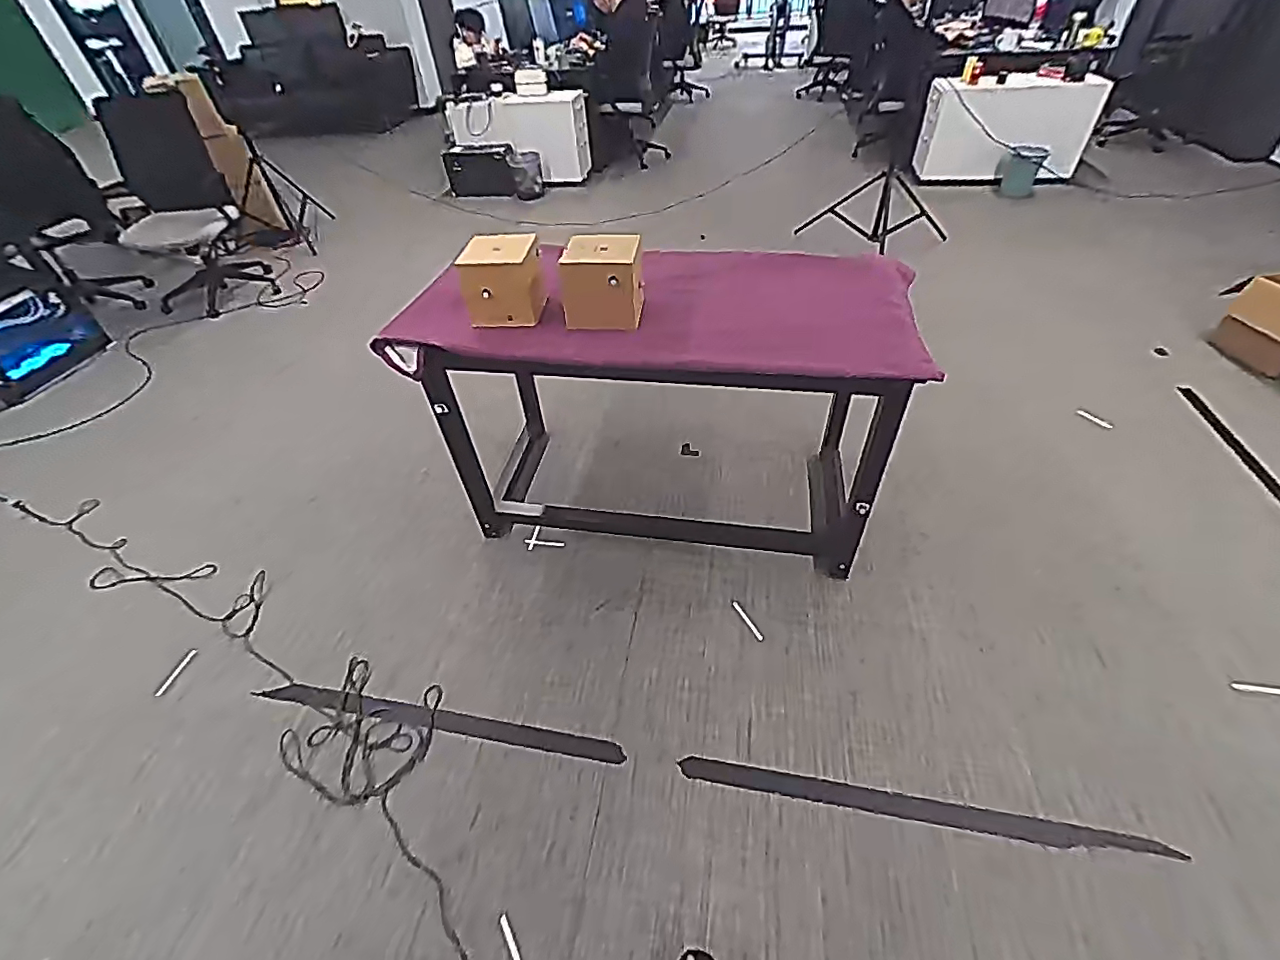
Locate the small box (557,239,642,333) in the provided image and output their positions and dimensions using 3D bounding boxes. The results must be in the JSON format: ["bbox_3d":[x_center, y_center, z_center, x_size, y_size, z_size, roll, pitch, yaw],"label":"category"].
[{"bbox_3d":[-0.091,-0.475,1.330,0.179,0.176,0.168,2,43,6],"label":"small box"}]

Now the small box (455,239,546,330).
[{"bbox_3d":[-0.343,-0.492,1.373,0.168,0.176,0.179,0,44,5],"label":"small box"}]
